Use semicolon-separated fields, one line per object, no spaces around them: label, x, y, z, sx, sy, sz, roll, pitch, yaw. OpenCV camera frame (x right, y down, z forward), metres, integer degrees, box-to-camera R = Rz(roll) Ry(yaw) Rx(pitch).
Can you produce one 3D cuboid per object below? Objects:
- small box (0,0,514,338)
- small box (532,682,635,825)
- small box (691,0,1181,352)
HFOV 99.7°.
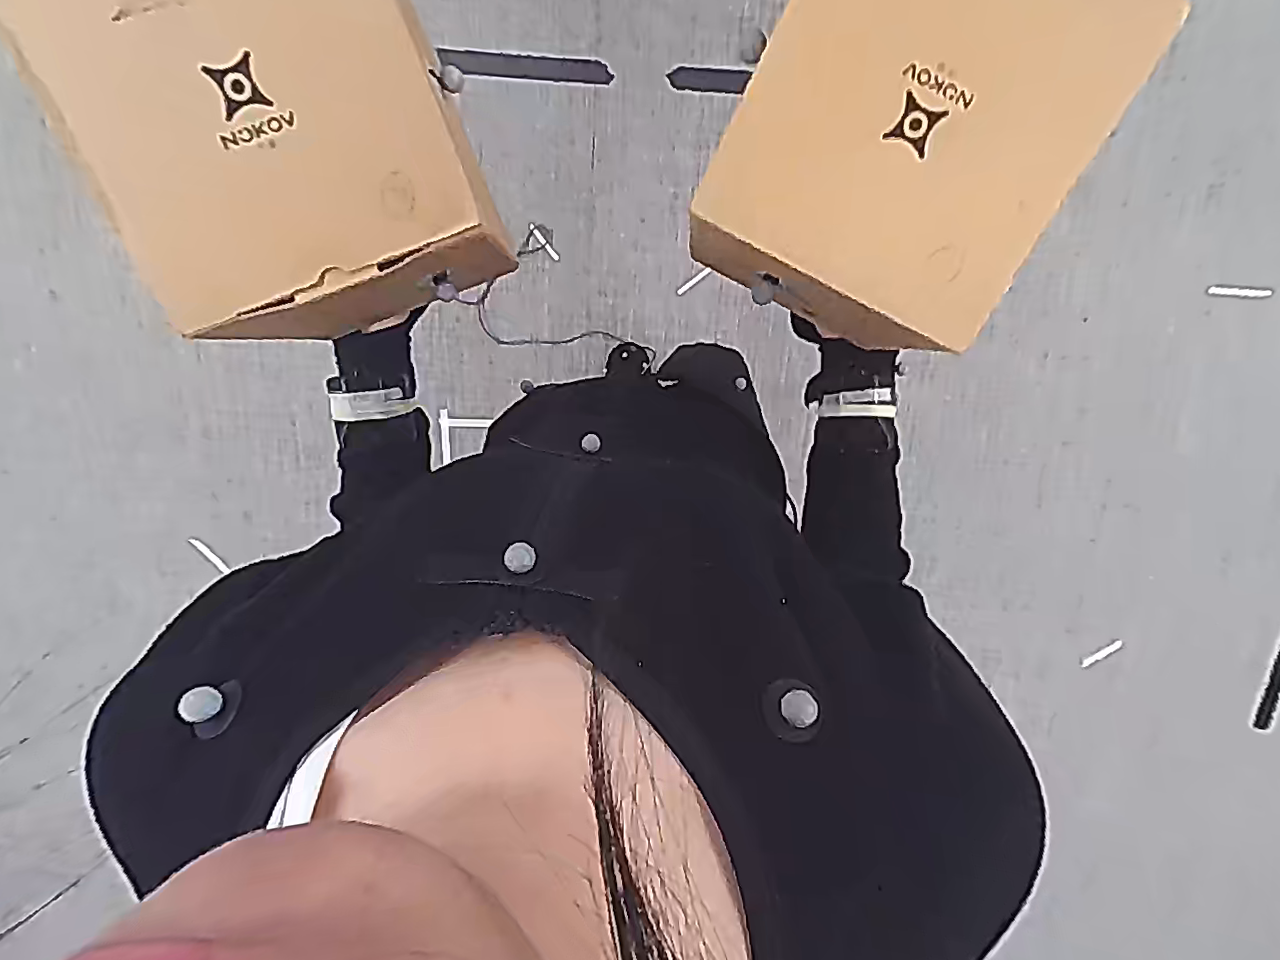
small box;-0.188;-0.198;0.329;0.168;0.176;0.179;-21;105;-2
small box;-0.103;0.519;1.046;0.168;0.176;0.179;8;102;-1
small box;0.145;-0.194;0.342;0.168;0.176;0.179;27;103;-1
